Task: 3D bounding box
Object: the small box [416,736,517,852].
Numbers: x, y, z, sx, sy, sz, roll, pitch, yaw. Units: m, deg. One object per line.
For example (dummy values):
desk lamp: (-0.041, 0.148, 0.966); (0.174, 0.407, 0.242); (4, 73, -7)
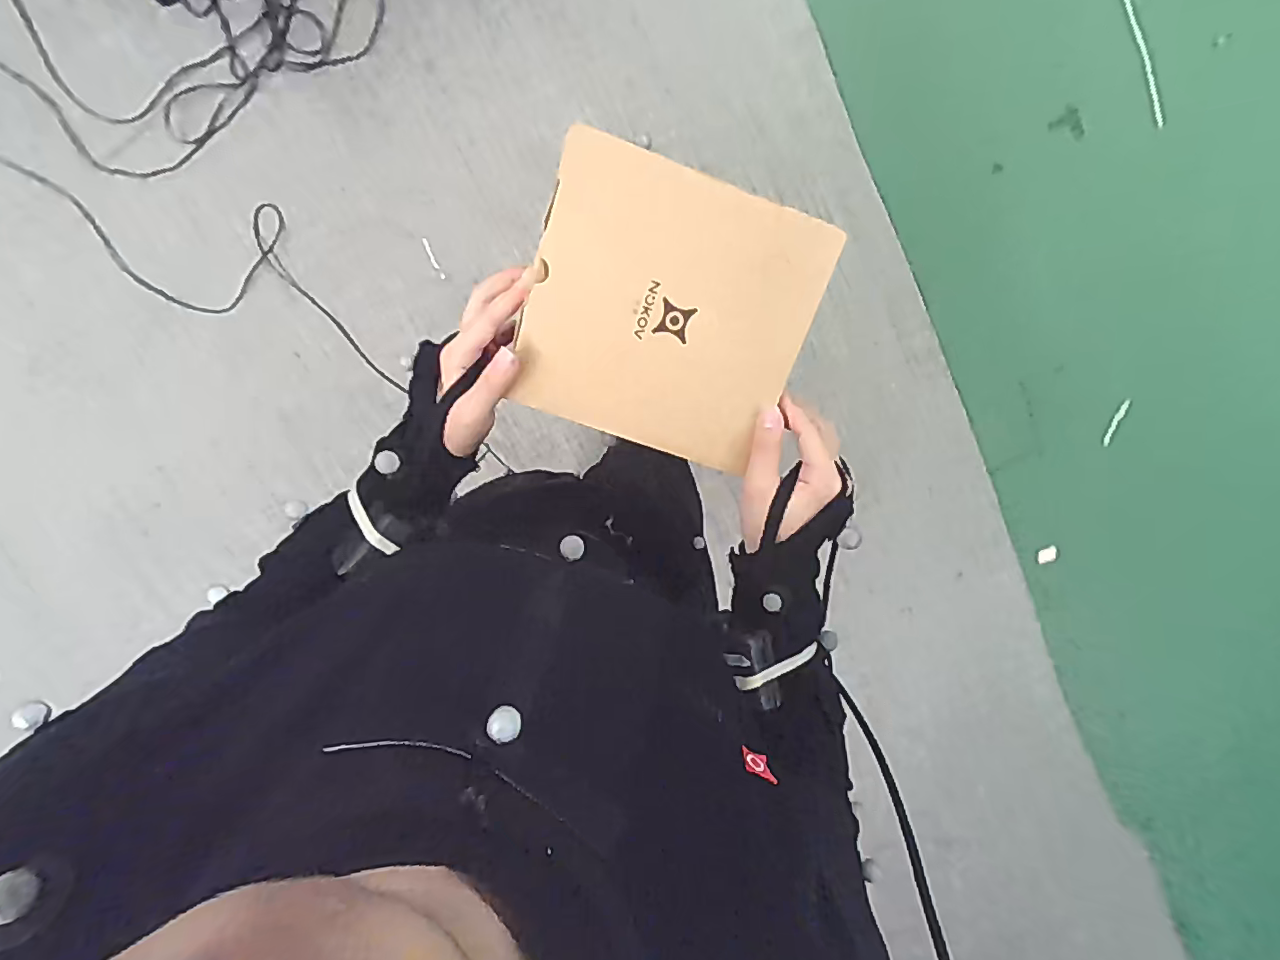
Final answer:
small box: (-0.436, 0.791, 1.387); (0.168, 0.176, 0.179); (-22, 101, 3)
